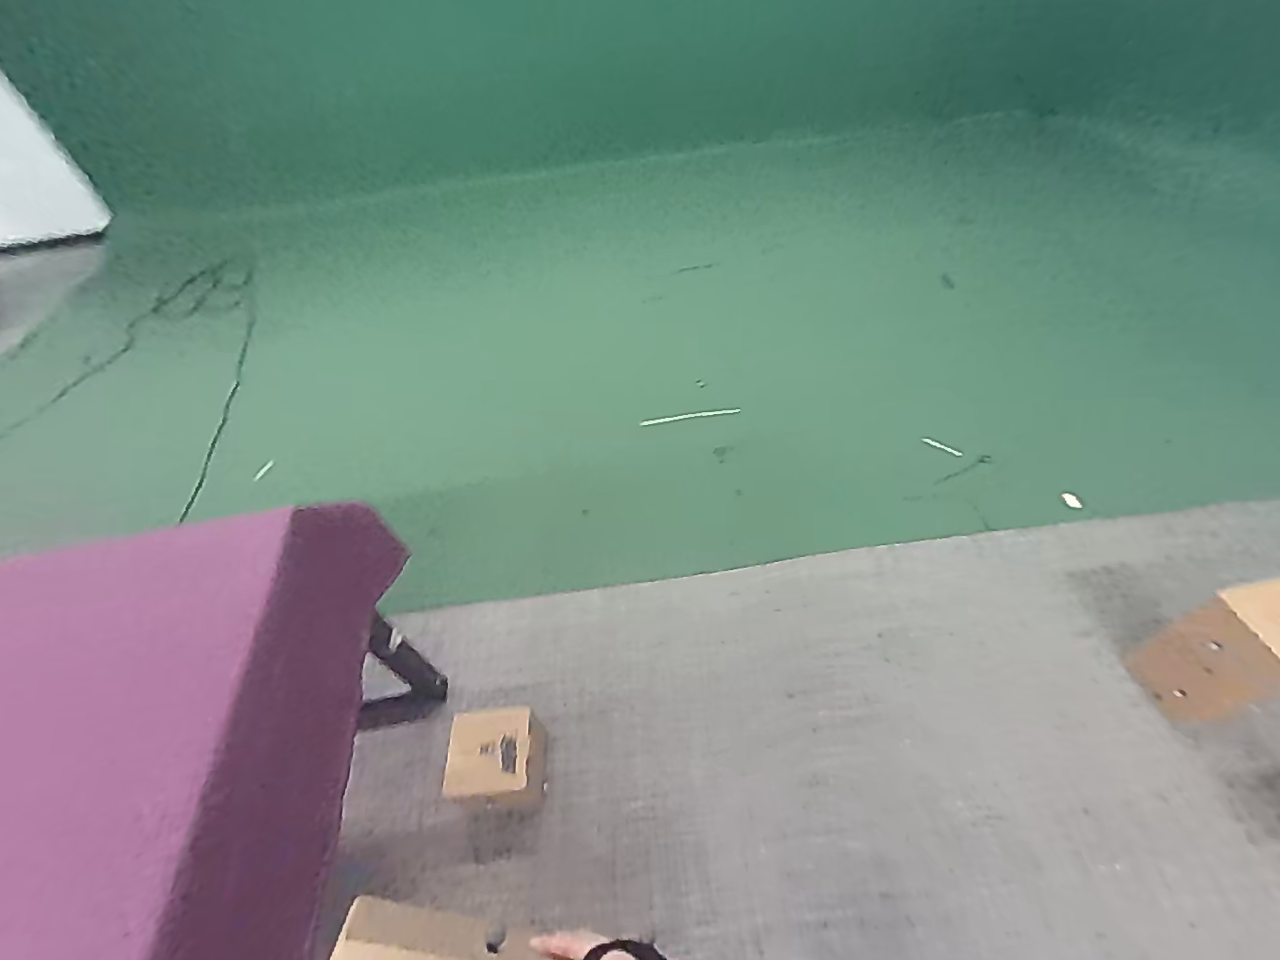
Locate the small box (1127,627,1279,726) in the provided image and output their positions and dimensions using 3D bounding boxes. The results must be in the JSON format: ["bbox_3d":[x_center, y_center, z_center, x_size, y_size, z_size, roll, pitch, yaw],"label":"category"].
[{"bbox_3d":[1.234,0.425,1.186,0.179,0.176,0.168,-9,50,-1],"label":"small box"}]

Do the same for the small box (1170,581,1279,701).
[{"bbox_3d":[1.214,0.318,1.063,0.179,0.176,0.168,-10,51,-1],"label":"small box"}]
